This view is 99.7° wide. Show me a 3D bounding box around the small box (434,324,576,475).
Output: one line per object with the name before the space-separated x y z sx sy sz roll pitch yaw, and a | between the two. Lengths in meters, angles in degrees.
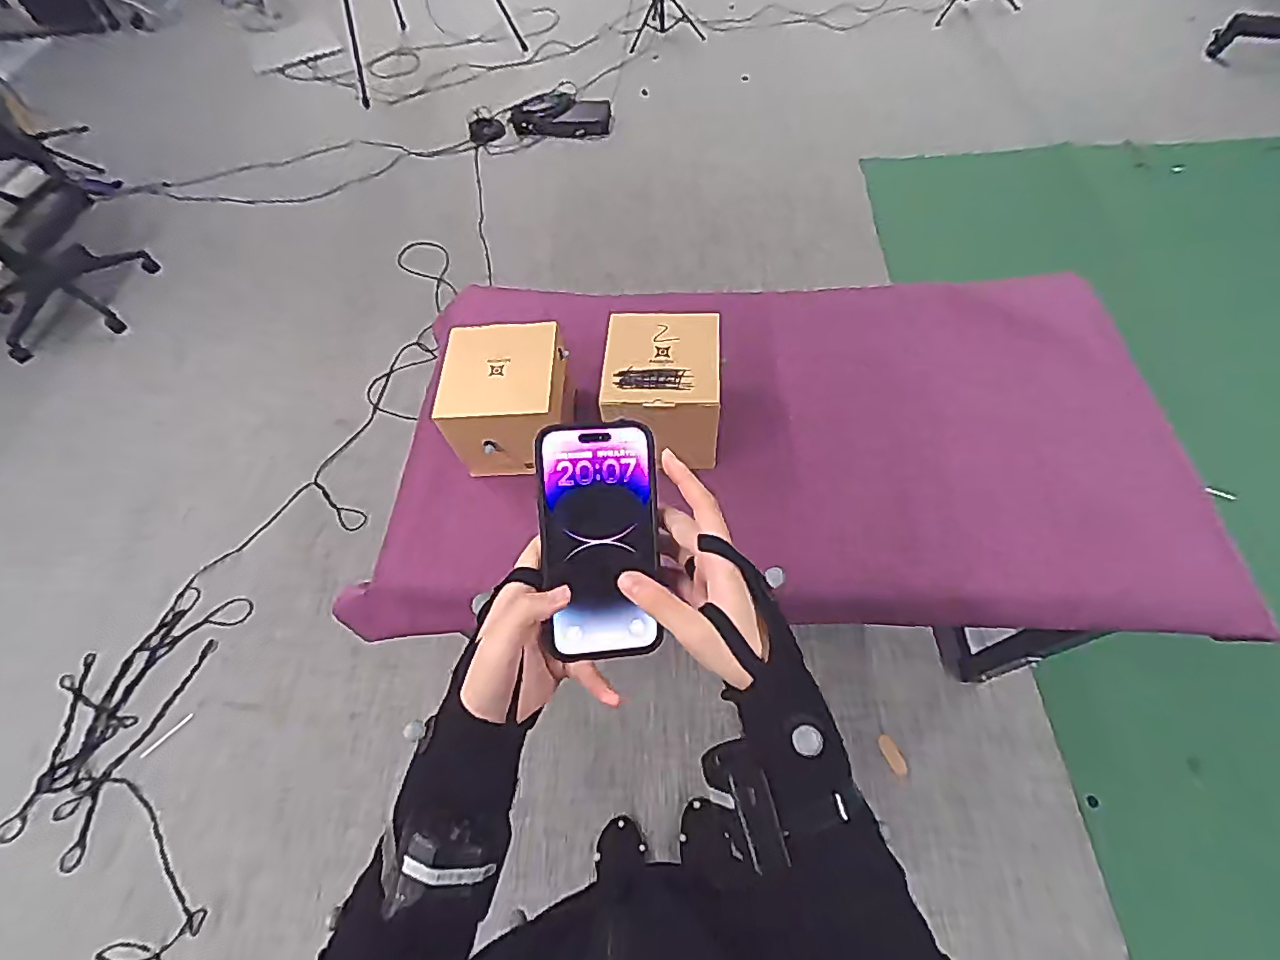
small box | -0.198 -0.118 0.850 0.168 0.176 0.179 -3 58 3
